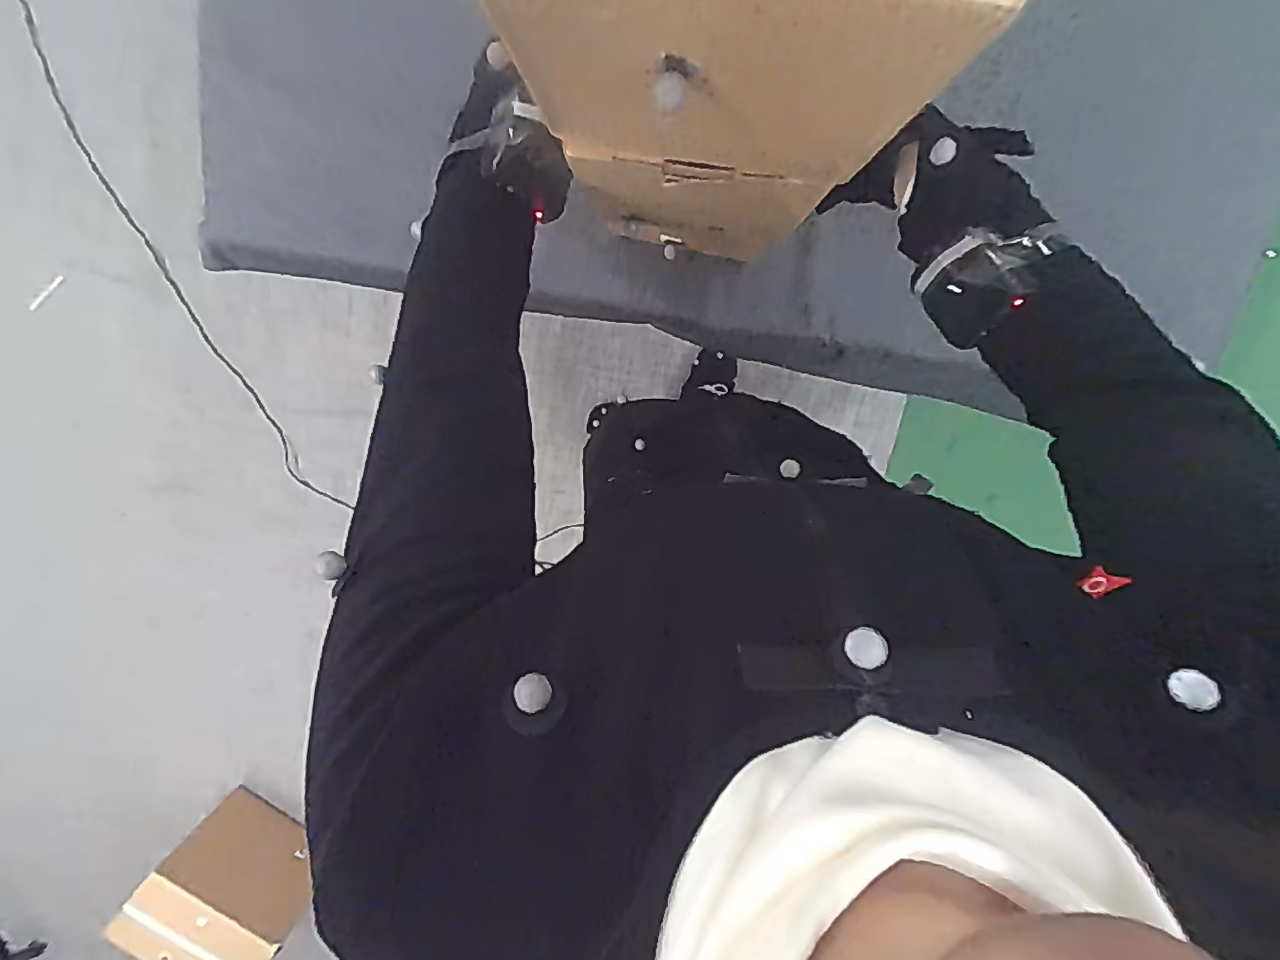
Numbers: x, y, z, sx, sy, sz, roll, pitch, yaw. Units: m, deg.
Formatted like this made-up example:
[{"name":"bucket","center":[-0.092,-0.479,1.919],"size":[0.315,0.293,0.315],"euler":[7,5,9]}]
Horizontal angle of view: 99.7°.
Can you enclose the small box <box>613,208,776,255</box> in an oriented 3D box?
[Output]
[{"name":"small box","center":[0.061,-0.341,0.539],"size":[0.168,0.176,0.179],"euler":[11,105,1]}]

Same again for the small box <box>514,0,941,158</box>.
[{"name":"small box","center":[0.038,-0.258,0.225],"size":[0.179,0.176,0.168],"euler":[7,101,2]}]

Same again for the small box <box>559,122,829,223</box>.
[{"name":"small box","center":[0.044,-0.292,0.382],"size":[0.168,0.176,0.179],"euler":[5,104,3]}]
